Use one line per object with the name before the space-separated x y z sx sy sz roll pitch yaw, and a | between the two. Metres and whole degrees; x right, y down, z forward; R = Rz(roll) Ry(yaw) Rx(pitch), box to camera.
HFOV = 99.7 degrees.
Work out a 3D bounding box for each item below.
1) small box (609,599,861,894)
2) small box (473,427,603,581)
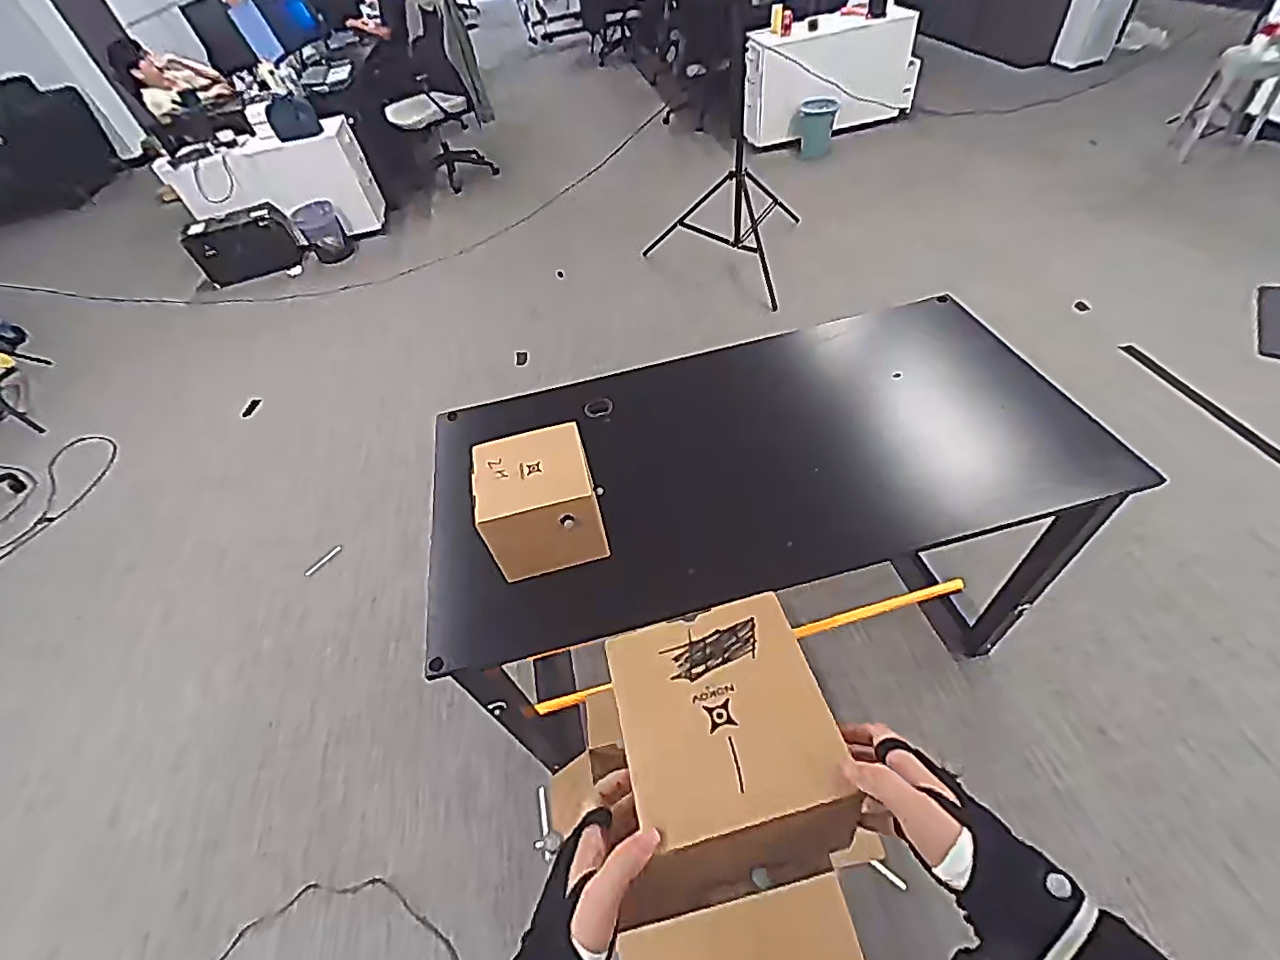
small box | 0.078 0.245 0.500 0.168 0.176 0.179 -17 44 -1
small box | -0.164 0.042 0.896 0.179 0.176 0.168 -14 48 -4
